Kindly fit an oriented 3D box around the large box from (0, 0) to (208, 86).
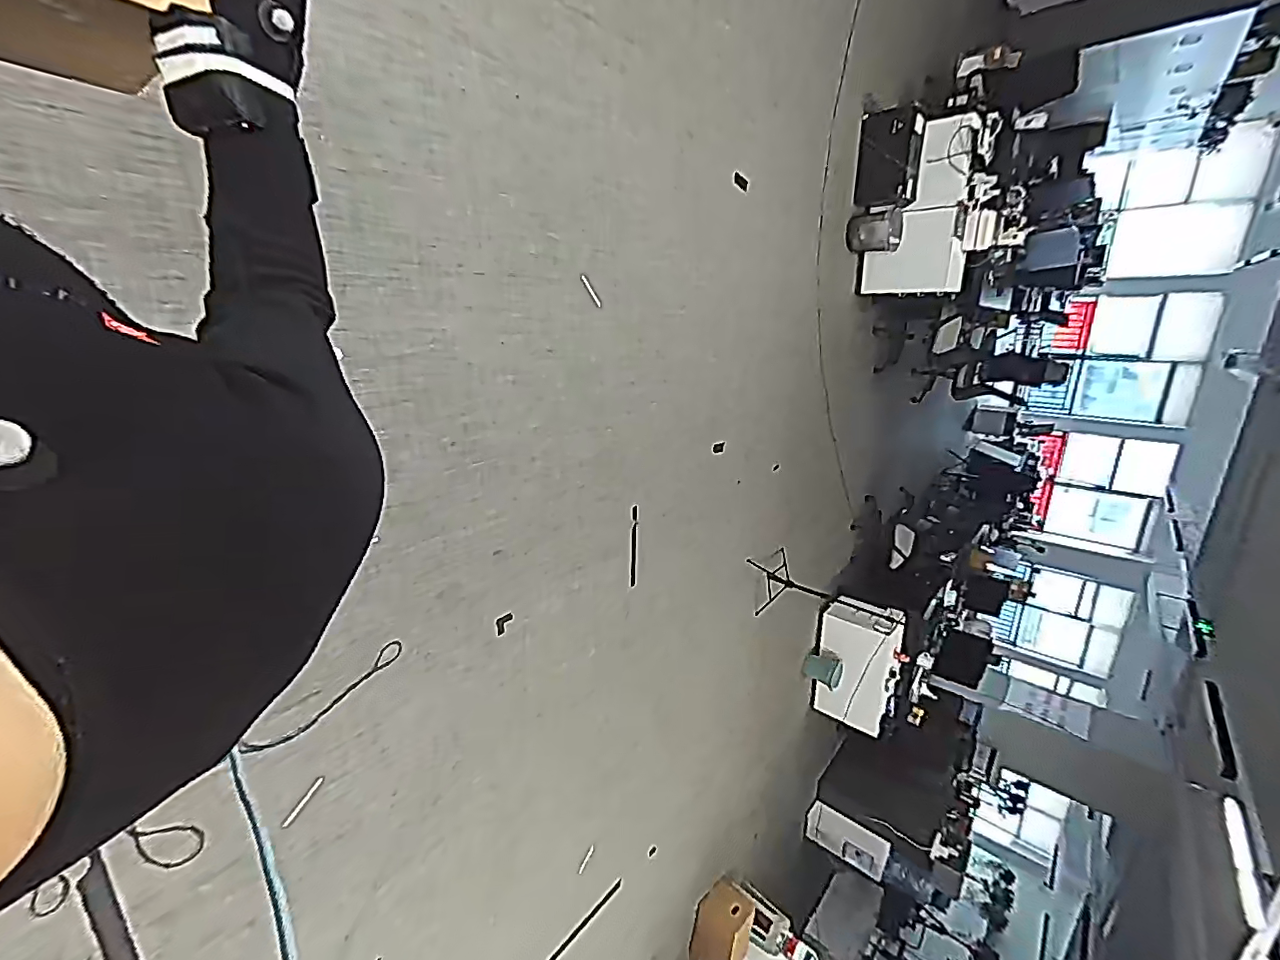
[{"bbox_3d":[-0.535,-0.470,0.281,0.408,0.320,0.320,-15,119,-47],"label":"large box"}]
